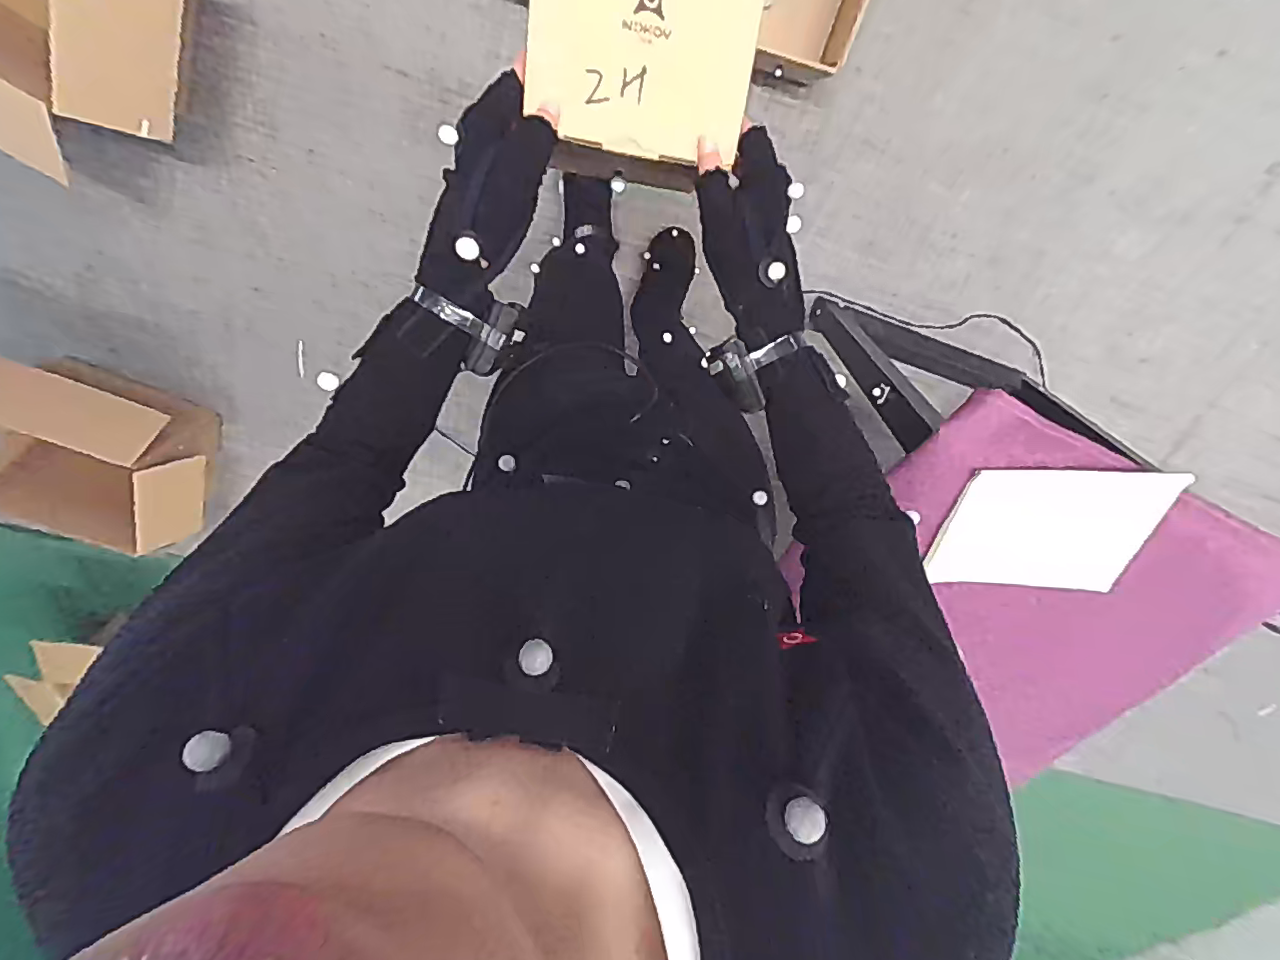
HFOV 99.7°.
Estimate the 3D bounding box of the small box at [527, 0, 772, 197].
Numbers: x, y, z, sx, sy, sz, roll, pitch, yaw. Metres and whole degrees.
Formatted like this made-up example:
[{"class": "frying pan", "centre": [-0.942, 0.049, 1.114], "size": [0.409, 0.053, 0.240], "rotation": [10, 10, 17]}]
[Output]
[{"class": "small box", "centre": [-0.001, -0.358, 0.456], "size": [0.168, 0.176, 0.179], "rotation": [7, 111, -10]}]
